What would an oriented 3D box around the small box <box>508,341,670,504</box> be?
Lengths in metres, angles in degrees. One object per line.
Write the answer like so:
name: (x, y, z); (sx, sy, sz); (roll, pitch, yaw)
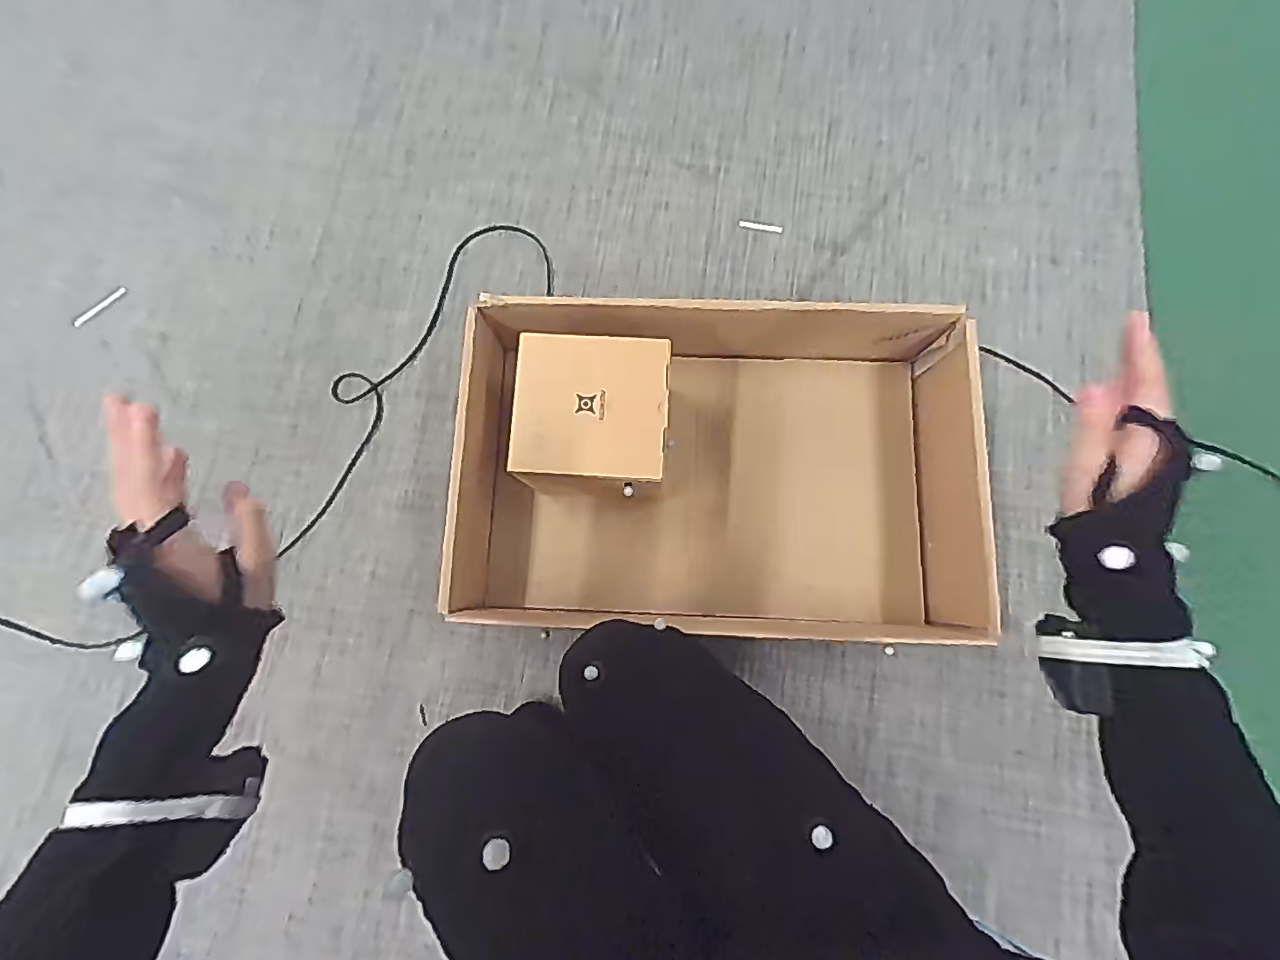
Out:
small box: (-0.054, -0.063, 0.687); (0.179, 0.176, 0.168); (3, 80, 2)
